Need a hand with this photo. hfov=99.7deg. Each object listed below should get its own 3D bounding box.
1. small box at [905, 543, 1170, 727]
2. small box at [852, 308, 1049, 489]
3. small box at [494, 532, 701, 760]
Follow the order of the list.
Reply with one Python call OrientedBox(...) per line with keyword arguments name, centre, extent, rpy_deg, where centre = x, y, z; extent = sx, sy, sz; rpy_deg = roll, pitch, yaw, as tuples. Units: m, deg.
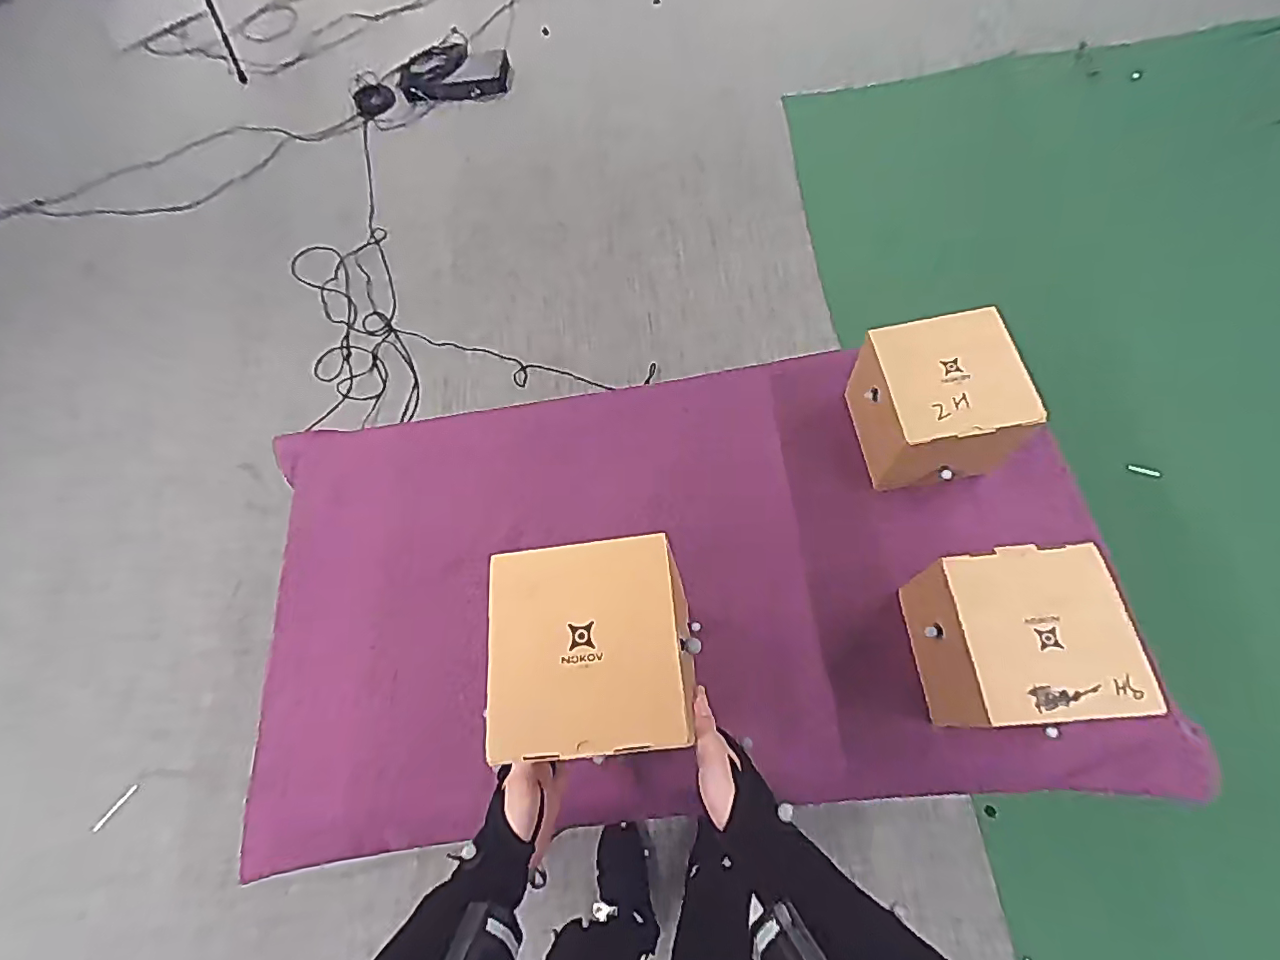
OrientedBox(name="small box", centre=(0.436, 0.189, 0.634), extent=(0.168, 0.176, 0.179), rpy_deg=(-7, 64, 6))
OrientedBox(name="small box", centre=(0.412, -0.105, 0.758), extent=(0.168, 0.176, 0.179), rpy_deg=(-10, 67, 6))
OrientedBox(name="small box", centre=(-0.032, 0.166, 0.529), extent=(0.168, 0.176, 0.179), rpy_deg=(-8, 67, 5))
